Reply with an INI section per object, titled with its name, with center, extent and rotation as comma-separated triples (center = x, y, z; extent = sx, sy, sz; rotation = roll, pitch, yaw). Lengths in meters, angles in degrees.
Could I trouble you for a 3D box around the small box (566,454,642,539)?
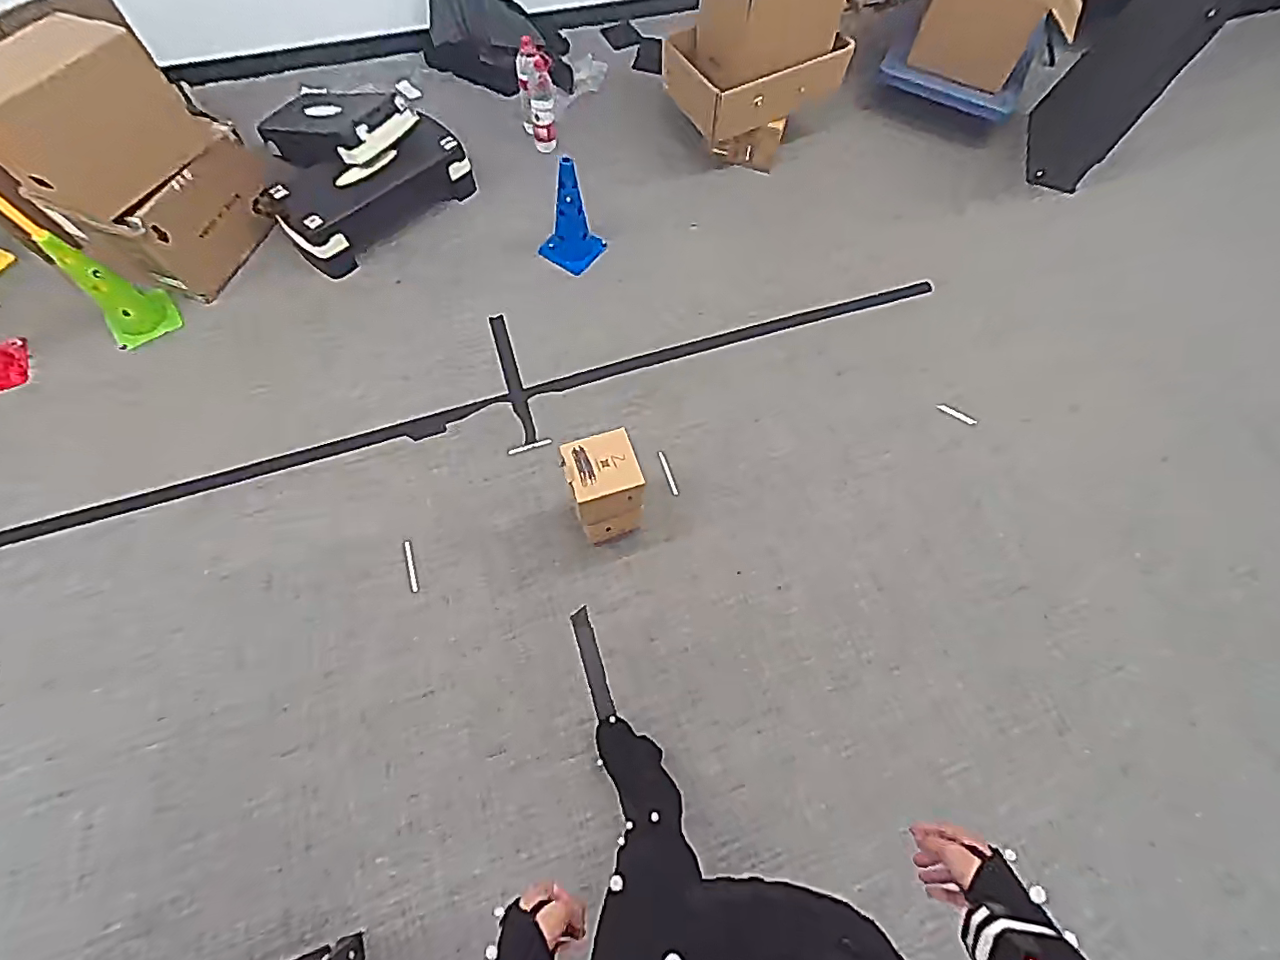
[small box]
center = -0.102, 0.056, 1.553
extent = 0.168, 0.176, 0.179
rotation = -20, 69, -11
